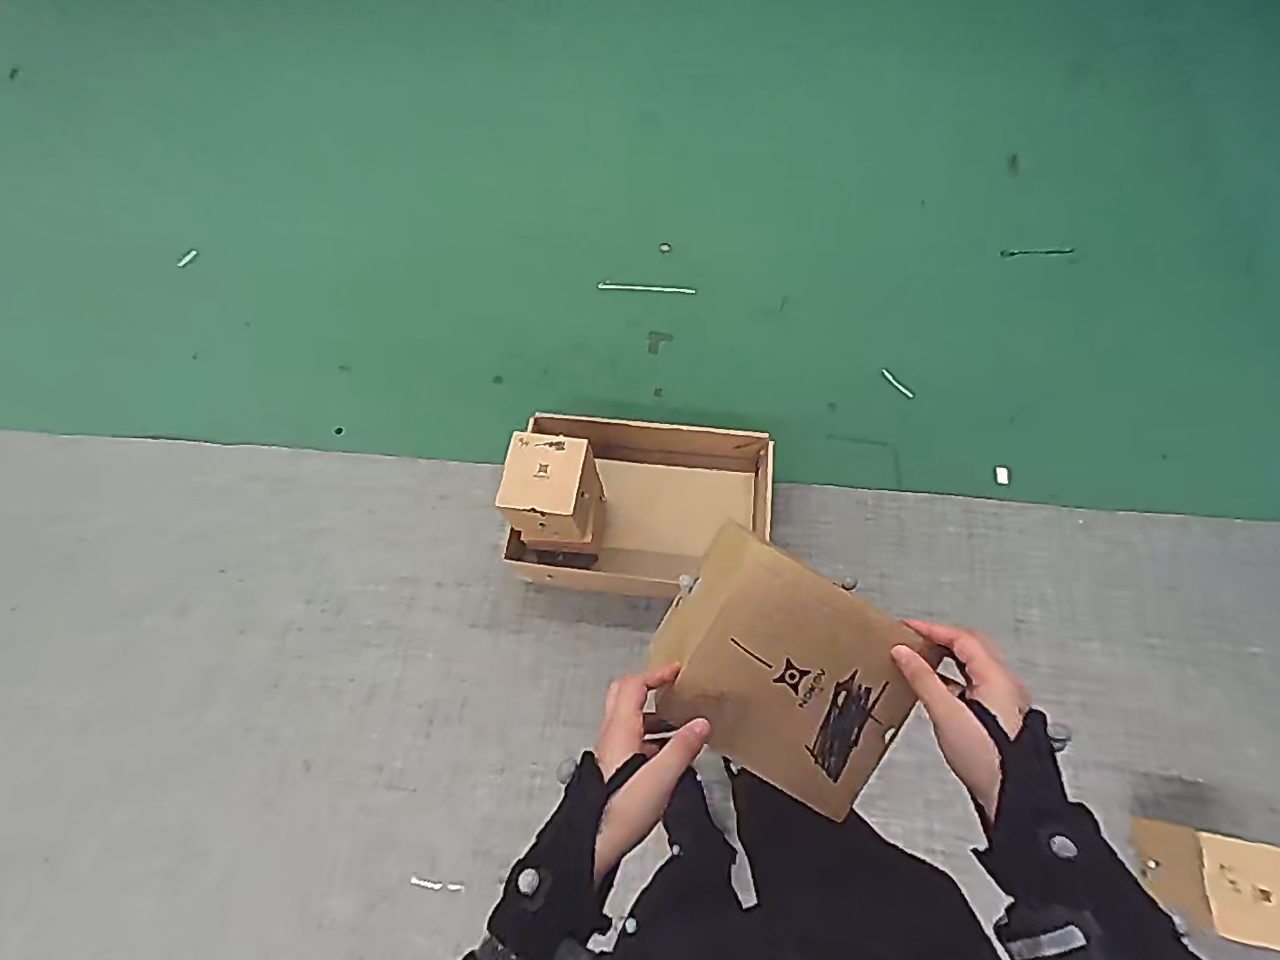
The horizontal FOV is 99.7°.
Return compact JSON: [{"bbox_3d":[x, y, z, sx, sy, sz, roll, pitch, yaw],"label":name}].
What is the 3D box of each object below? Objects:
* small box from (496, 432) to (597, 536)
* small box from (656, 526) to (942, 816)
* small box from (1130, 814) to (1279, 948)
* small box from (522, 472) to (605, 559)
[{"bbox_3d":[-0.195,0.015,1.185,0.168,0.176,0.179,7,70,6],"label":"small box"},{"bbox_3d":[0.129,0.158,0.514,0.179,0.176,0.168,31,92,-1],"label":"small box"},{"bbox_3d":[1.125,0.776,1.058,0.179,0.176,0.168,9,69,6],"label":"small box"},{"bbox_3d":[-0.180,0.087,1.333,0.168,0.176,0.179,2,70,4],"label":"small box"}]
